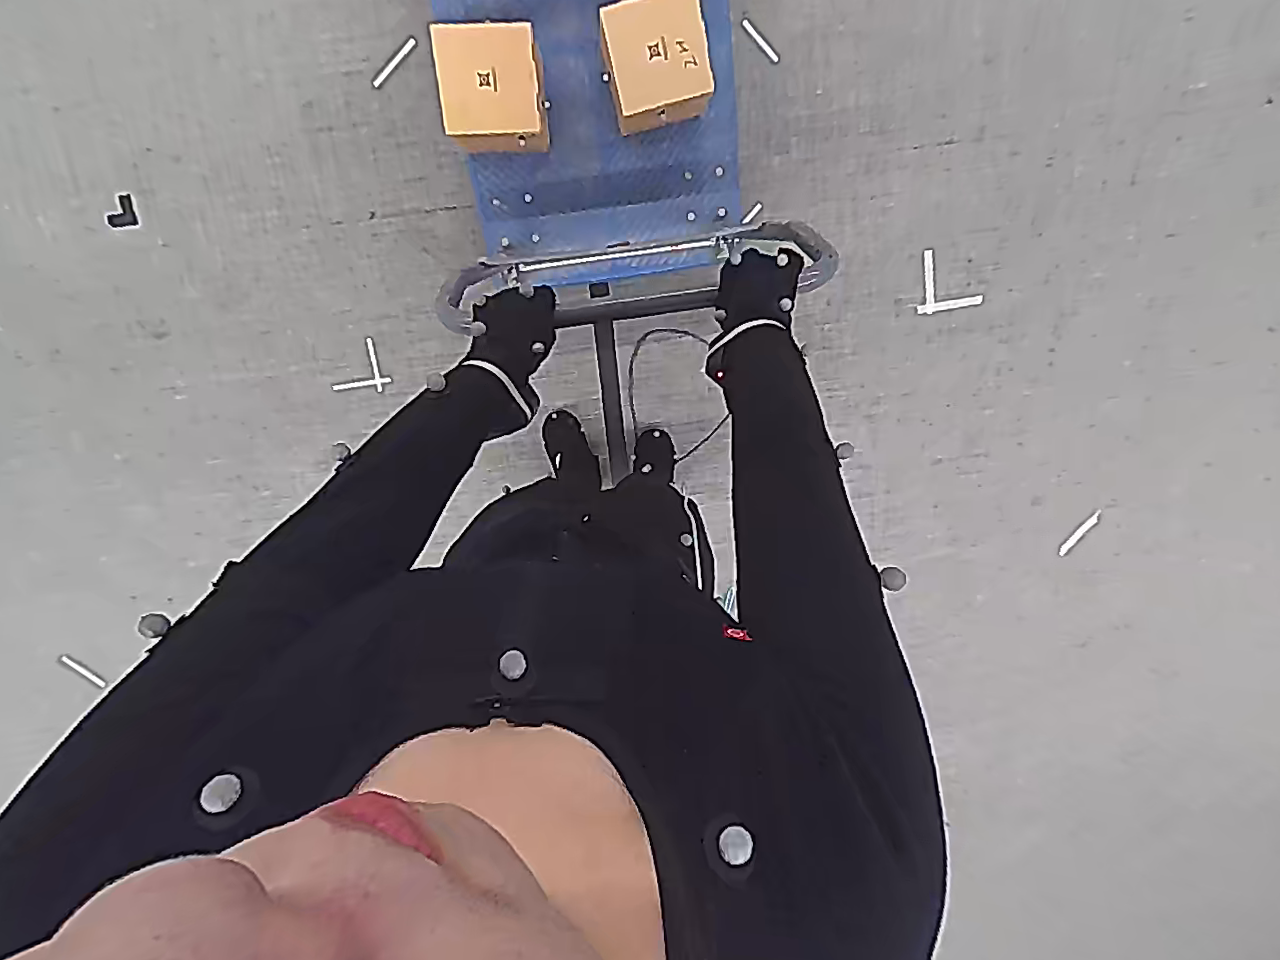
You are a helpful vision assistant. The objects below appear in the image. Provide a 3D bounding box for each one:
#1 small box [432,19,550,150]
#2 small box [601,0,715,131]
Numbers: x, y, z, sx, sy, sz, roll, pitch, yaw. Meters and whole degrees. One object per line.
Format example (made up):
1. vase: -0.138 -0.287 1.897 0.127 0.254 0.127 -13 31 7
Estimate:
1. small box: -0.272 -0.741 1.030 0.179 0.176 0.168 -4 112 -3
2. small box: 0.032 -0.789 1.026 0.179 0.176 0.168 -14 112 3
